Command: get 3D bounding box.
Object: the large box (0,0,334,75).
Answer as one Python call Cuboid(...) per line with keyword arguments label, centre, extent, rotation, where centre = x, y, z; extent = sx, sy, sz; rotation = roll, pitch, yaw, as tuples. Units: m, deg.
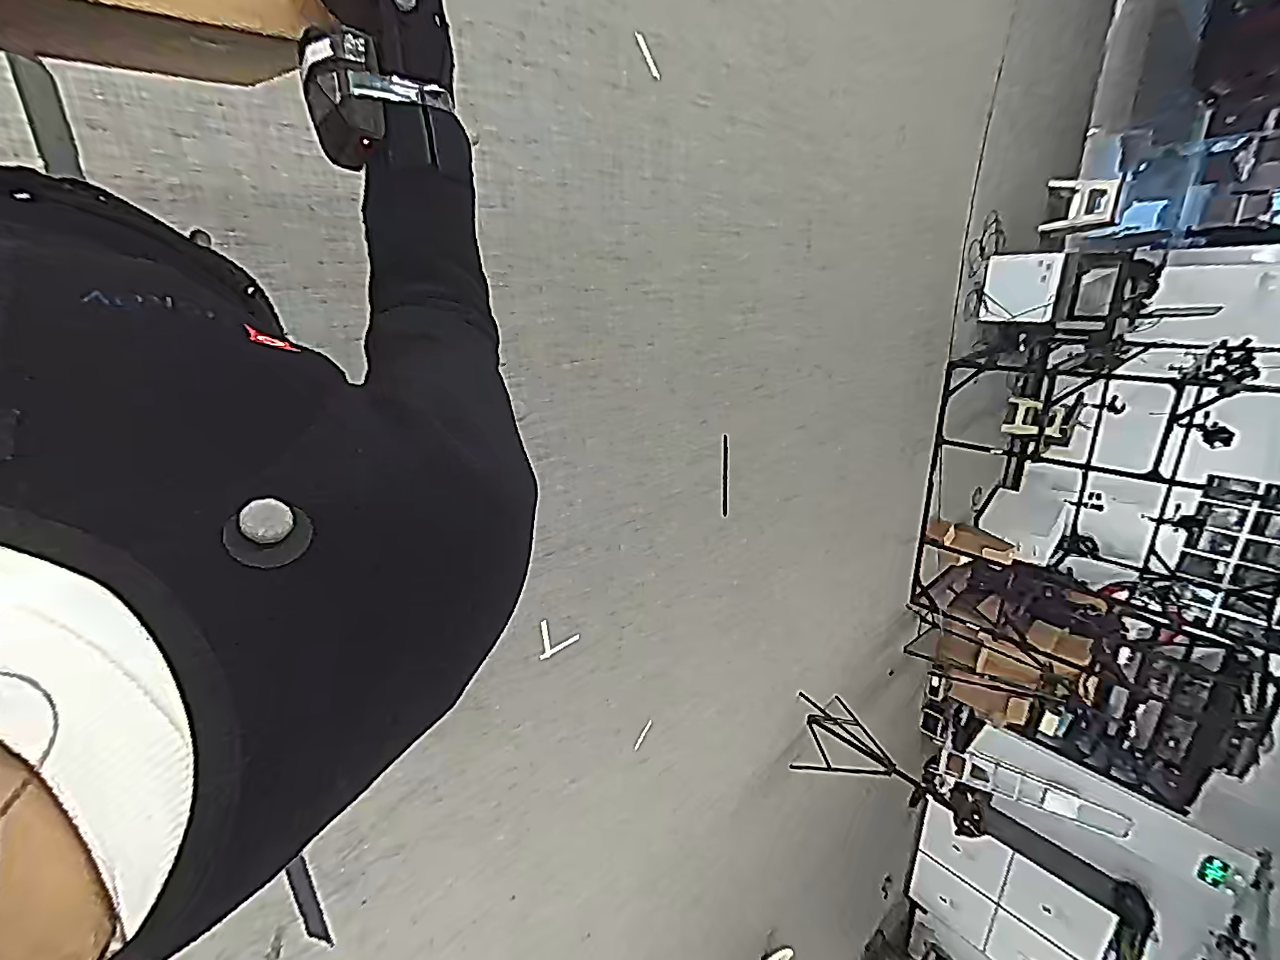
Cuboid(label="large box", centre=(-0.439, -0.425, 0.259), extent=(0.408, 0.320, 0.320), rotation=(-21, 128, -38))
